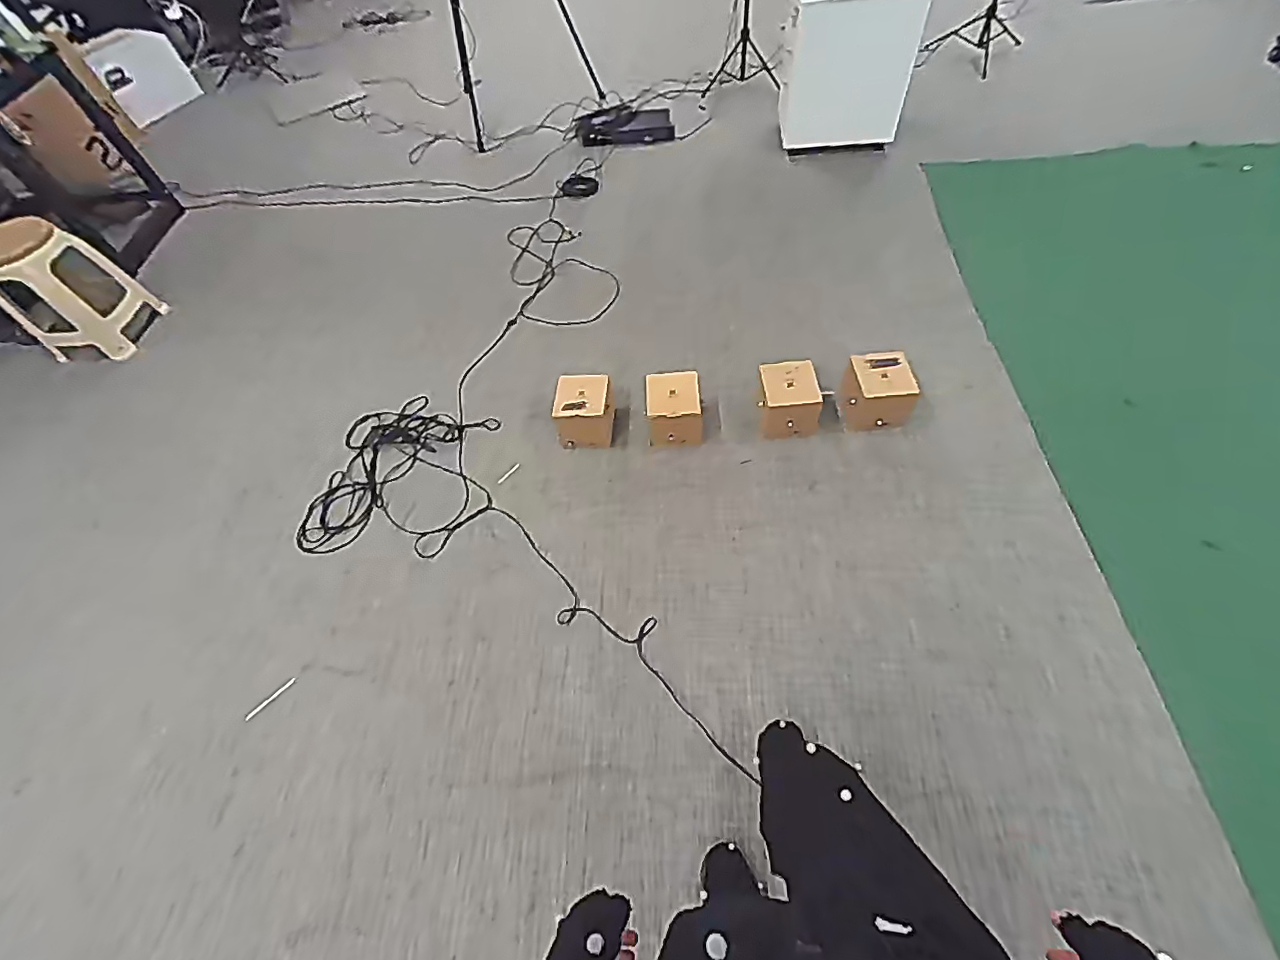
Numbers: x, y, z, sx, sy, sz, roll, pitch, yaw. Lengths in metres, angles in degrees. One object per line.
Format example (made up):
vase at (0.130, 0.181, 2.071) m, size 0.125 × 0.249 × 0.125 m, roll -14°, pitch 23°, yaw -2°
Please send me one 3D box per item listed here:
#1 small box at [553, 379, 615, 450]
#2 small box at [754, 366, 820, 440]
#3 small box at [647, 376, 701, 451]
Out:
small box at (-0.179, -0.214, 1.796) m, size 0.168 × 0.176 × 0.179 m, roll 0°, pitch 57°, yaw 6°
small box at (0.469, -0.242, 1.745) m, size 0.168 × 0.176 × 0.179 m, roll -5°, pitch 57°, yaw 2°
small box at (0.111, -0.215, 1.768) m, size 0.168 × 0.176 × 0.179 m, roll -4°, pitch 58°, yaw 4°
